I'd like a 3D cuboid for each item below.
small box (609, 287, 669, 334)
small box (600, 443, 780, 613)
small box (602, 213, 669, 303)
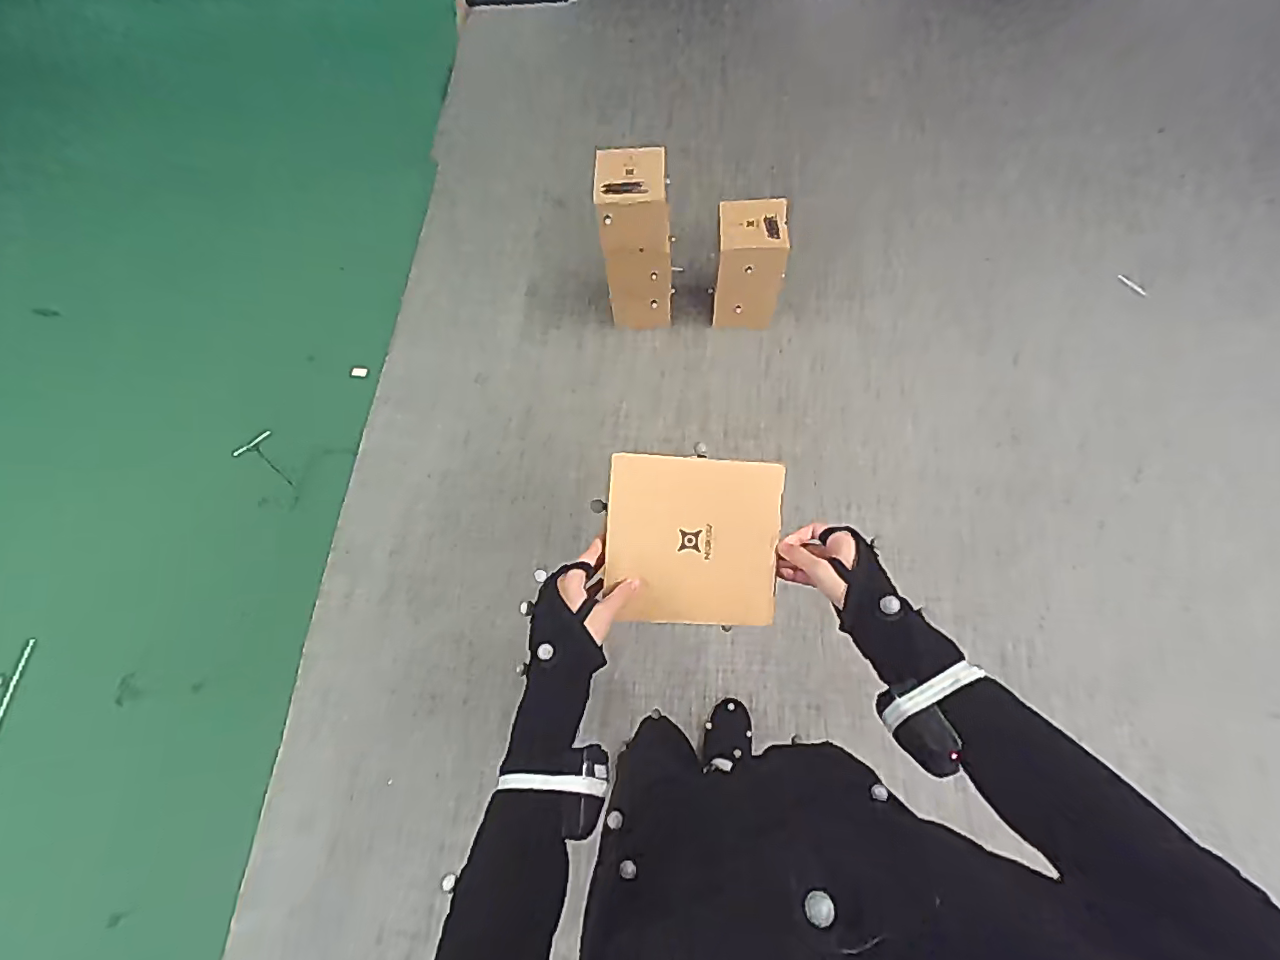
[{"bbox_3d":[0.003,-0.571,1.673,0.179,0.176,0.168,-2,69,5],"label":"small box"},{"bbox_3d":[0.045,0.049,0.625,0.179,0.176,0.168,3,92,-6],"label":"small box"},{"bbox_3d":[-0.007,-0.618,1.517,0.179,0.176,0.168,-2,69,5],"label":"small box"}]
